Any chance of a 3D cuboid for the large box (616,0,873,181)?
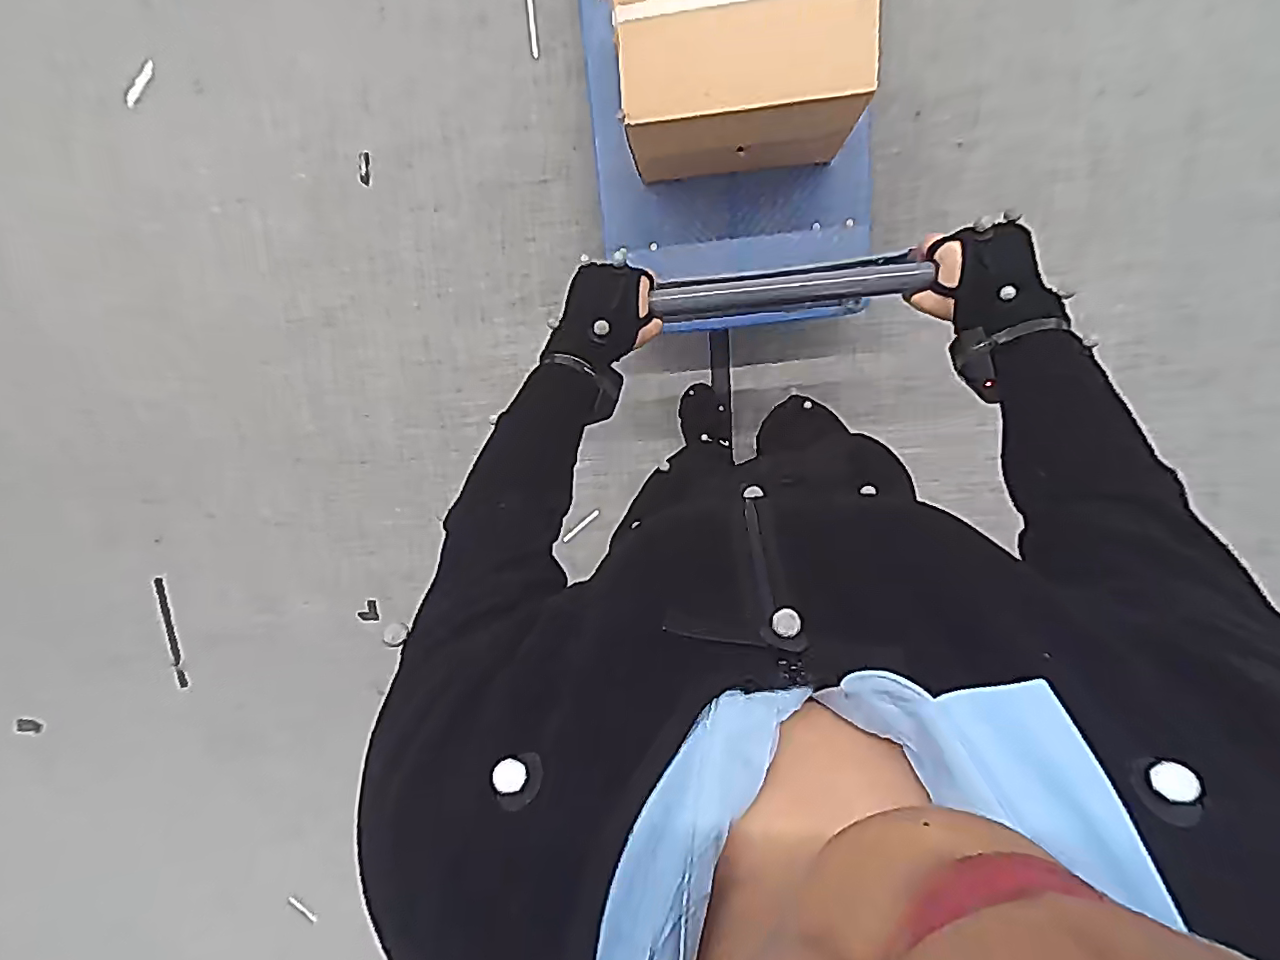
[{"bbox_3d":[0.180,-0.786,0.996,0.408,0.320,0.320,-3,101,8],"label":"large box"}]
